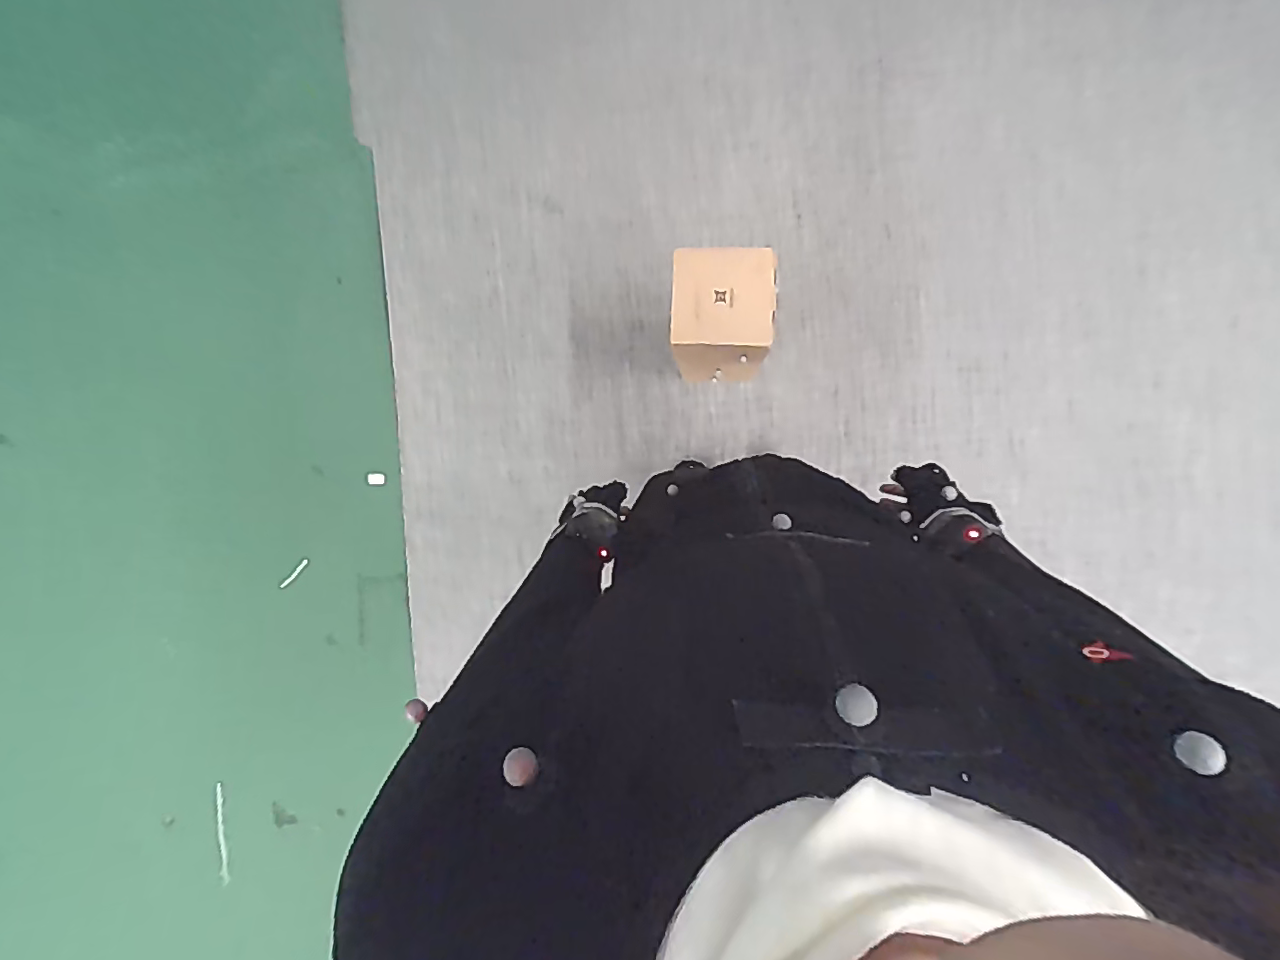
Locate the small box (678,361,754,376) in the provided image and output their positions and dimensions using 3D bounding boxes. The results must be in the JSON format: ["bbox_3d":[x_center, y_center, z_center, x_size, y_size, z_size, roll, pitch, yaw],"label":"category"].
[{"bbox_3d":[0.186,-0.348,1.321,0.179,0.176,0.168,2,94,8],"label":"small box"}]

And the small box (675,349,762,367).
[{"bbox_3d":[0.167,-0.336,1.162,0.179,0.176,0.168,0,95,7],"label":"small box"}]

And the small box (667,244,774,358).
[{"bbox_3d":[0.146,-0.323,0.999,0.179,0.176,0.168,2,93,8],"label":"small box"}]
